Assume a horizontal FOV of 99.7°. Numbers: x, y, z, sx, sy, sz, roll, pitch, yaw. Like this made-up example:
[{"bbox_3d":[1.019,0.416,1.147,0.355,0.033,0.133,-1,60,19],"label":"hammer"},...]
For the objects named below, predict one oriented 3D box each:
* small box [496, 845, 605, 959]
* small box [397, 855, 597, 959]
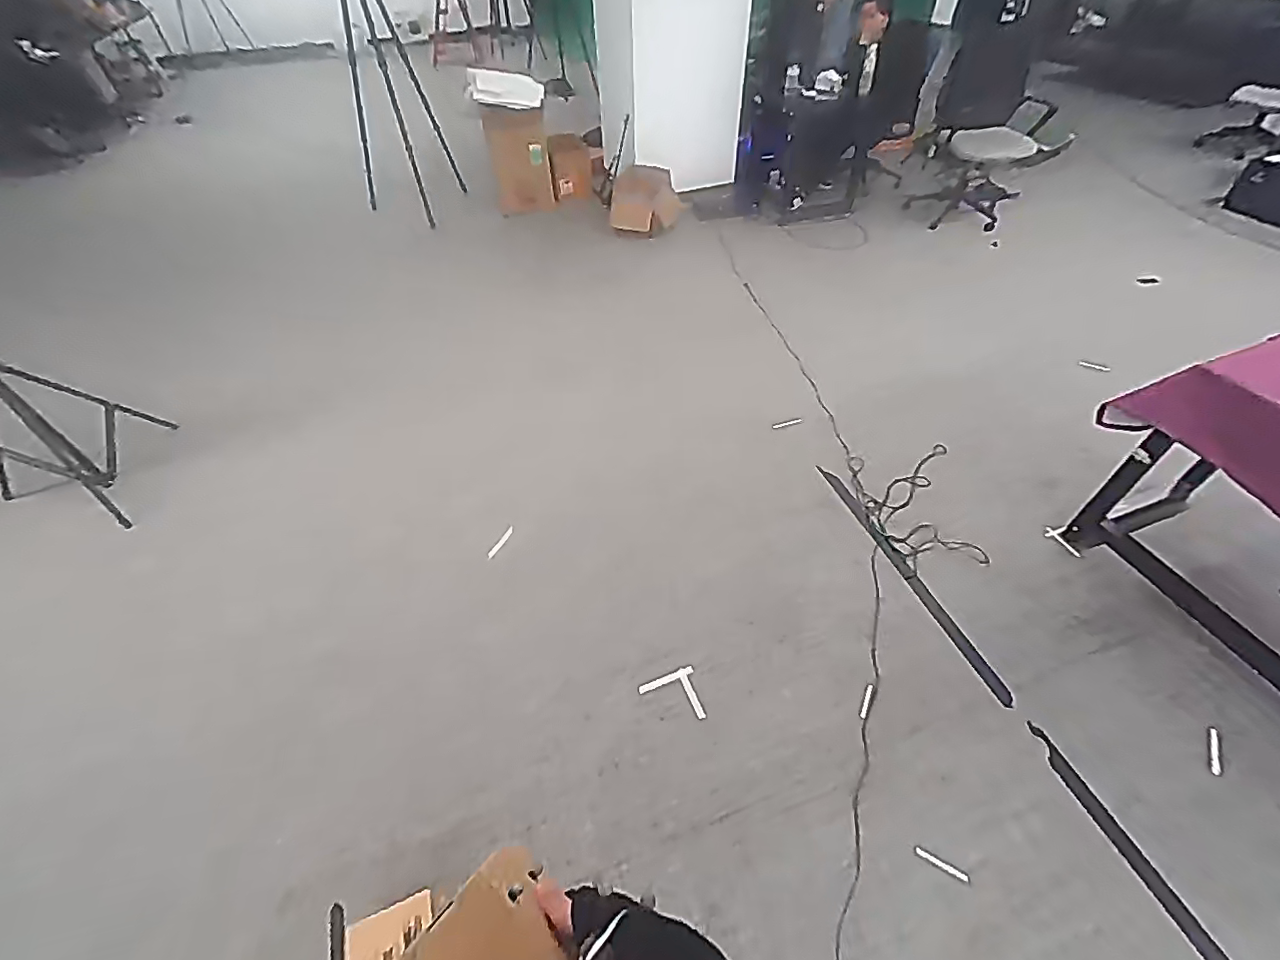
[{"bbox_3d":[-0.161,0.586,0.665,0.179,0.176,0.168,39,66,15],"label":"small box"},{"bbox_3d":[-0.149,0.505,0.523,0.179,0.176,0.168,40,66,16],"label":"small box"}]
